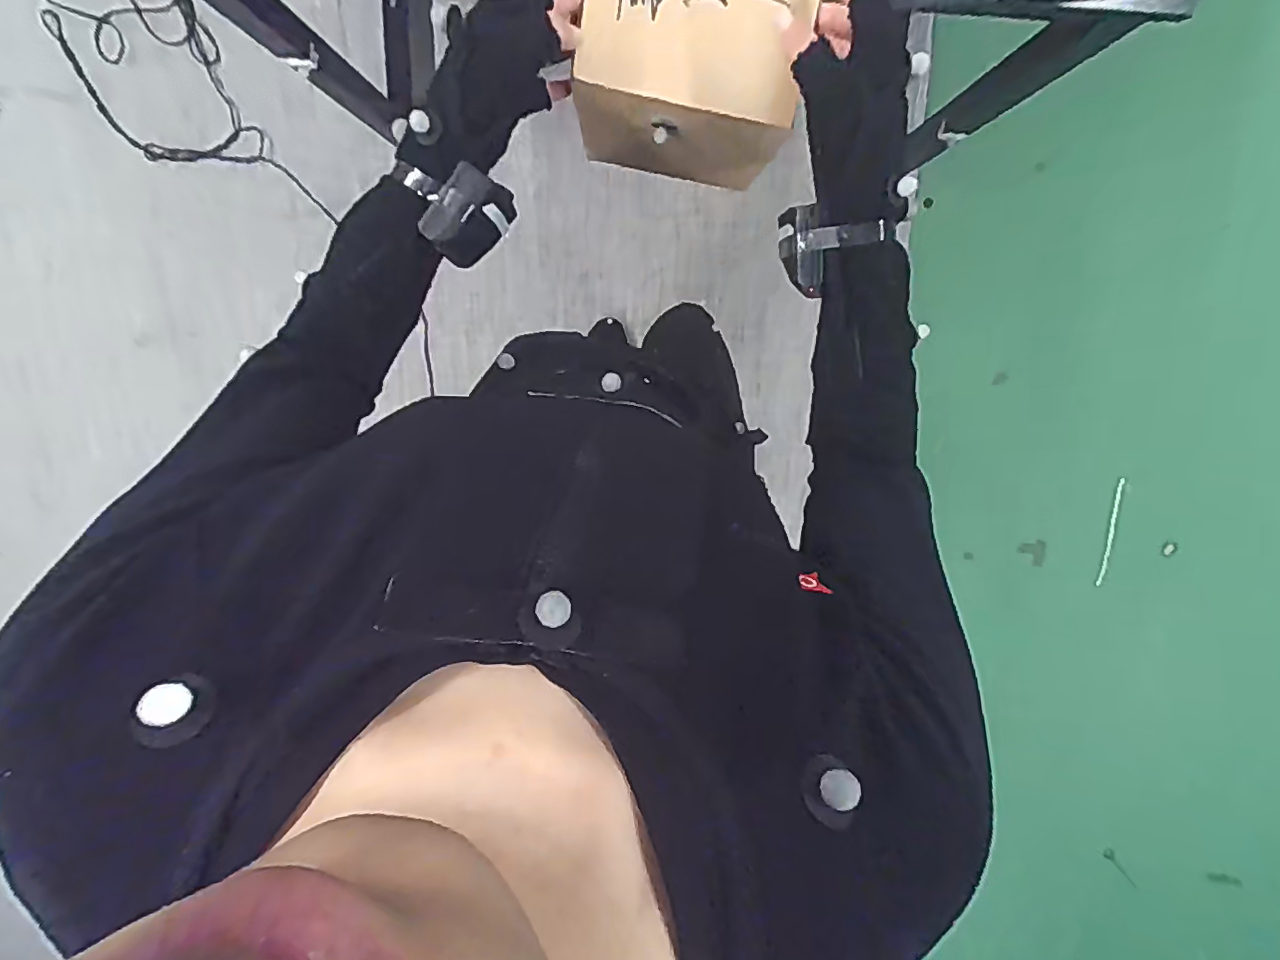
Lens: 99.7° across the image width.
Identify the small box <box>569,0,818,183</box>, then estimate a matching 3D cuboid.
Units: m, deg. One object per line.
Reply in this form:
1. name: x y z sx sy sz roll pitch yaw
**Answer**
1. small box: 0.044 -0.384 0.473 0.179 0.176 0.168 10 103 -5
